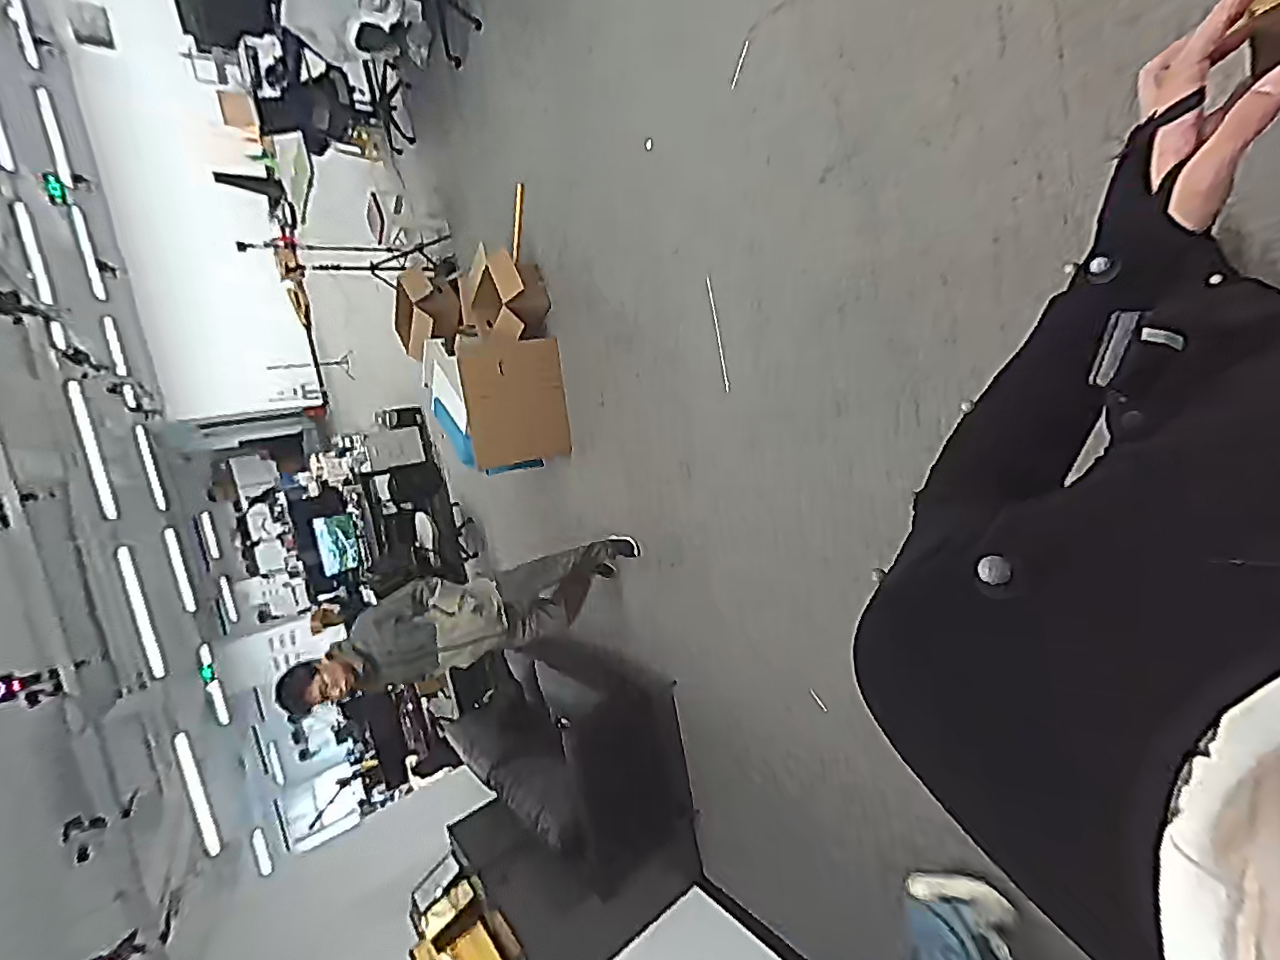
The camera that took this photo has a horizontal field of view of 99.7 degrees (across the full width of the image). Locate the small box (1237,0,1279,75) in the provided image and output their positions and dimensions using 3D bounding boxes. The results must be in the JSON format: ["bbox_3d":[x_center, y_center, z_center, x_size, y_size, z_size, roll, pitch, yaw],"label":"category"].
[{"bbox_3d":[0.489,-0.396,0.333,0.168,0.176,0.179,-5,90,49],"label":"small box"}]
